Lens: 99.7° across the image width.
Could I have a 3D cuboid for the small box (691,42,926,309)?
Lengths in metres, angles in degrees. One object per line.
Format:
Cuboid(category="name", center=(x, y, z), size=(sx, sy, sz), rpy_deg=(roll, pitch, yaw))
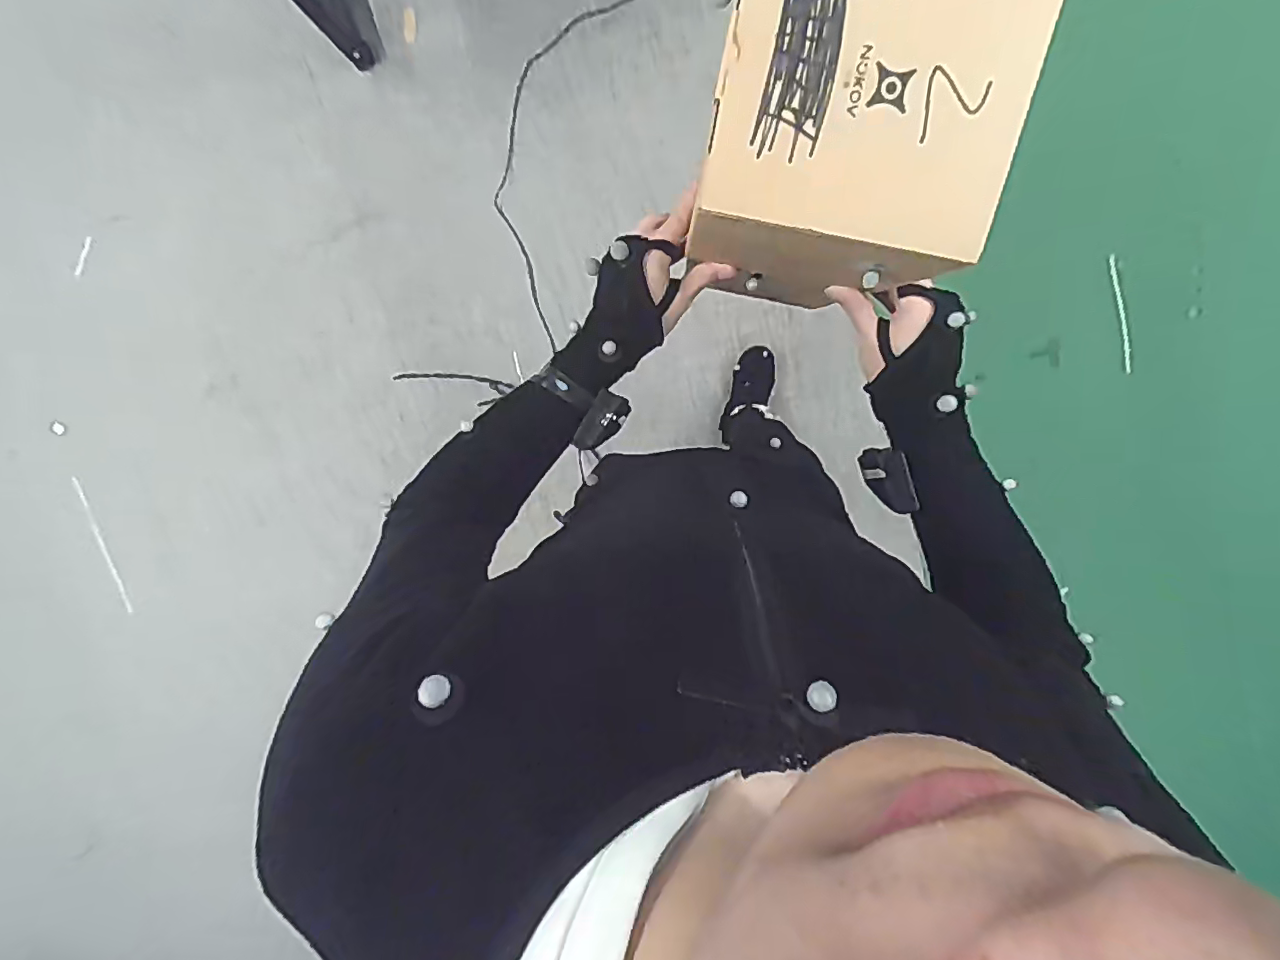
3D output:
Cuboid(category="small box", center=(0.147, -0.282, 0.544), size=(0.168, 0.176, 0.179), rpy_deg=(11, 103, 1))
